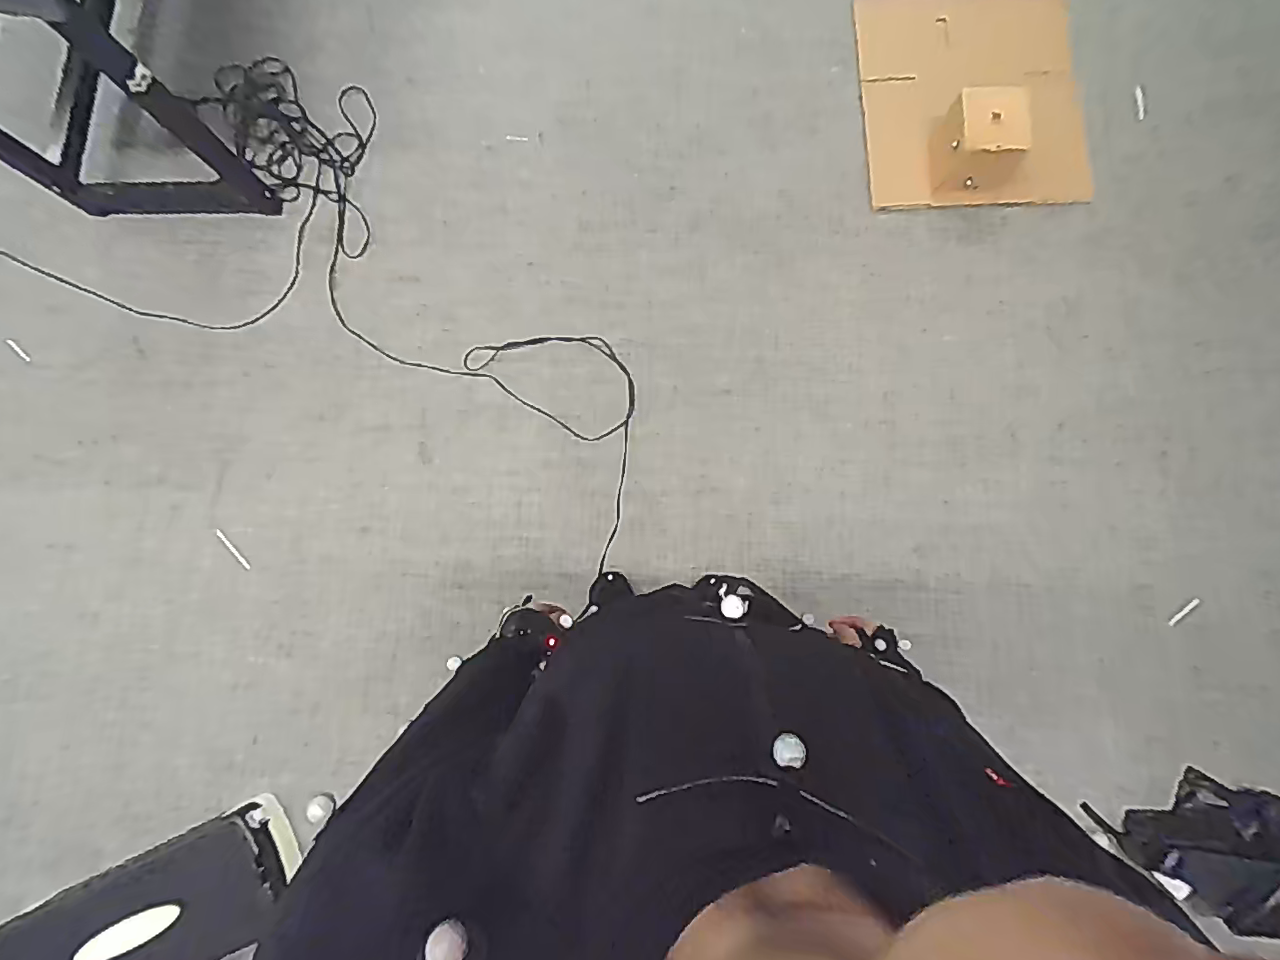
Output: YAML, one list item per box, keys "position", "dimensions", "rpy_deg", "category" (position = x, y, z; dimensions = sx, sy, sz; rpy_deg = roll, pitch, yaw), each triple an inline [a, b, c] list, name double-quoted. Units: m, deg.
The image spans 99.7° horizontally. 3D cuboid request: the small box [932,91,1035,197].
- position: [0.892, -0.878, 1.421]
  dimensions: [0.168, 0.176, 0.179]
  rpy_deg: [0, 82, 2]
  category: "small box"
